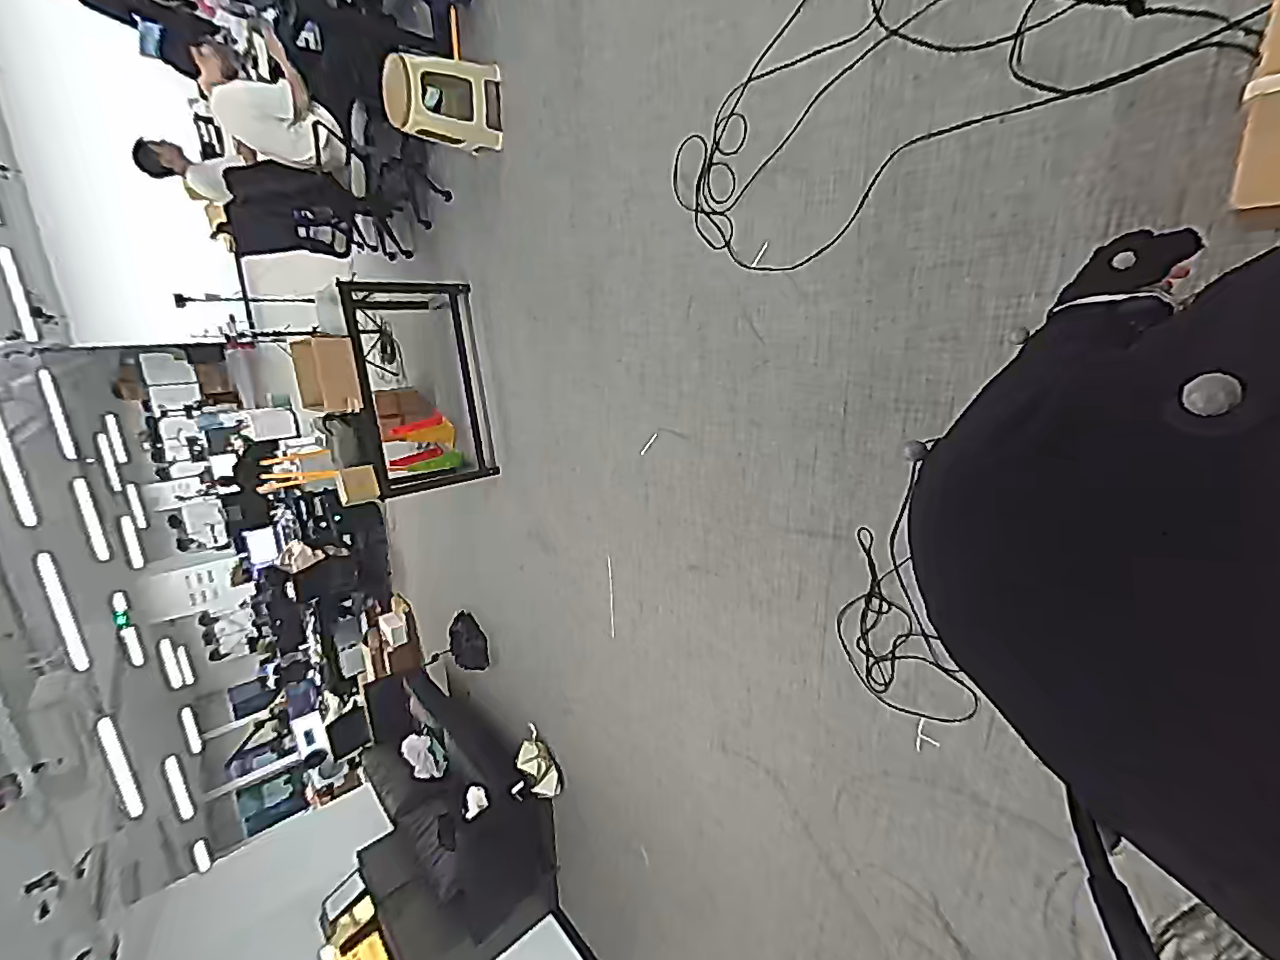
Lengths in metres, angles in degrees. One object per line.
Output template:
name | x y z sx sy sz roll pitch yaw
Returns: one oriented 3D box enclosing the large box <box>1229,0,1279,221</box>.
large box | 1.087 -0.553 0.703 0.408 0.320 0.320 13 113 45
